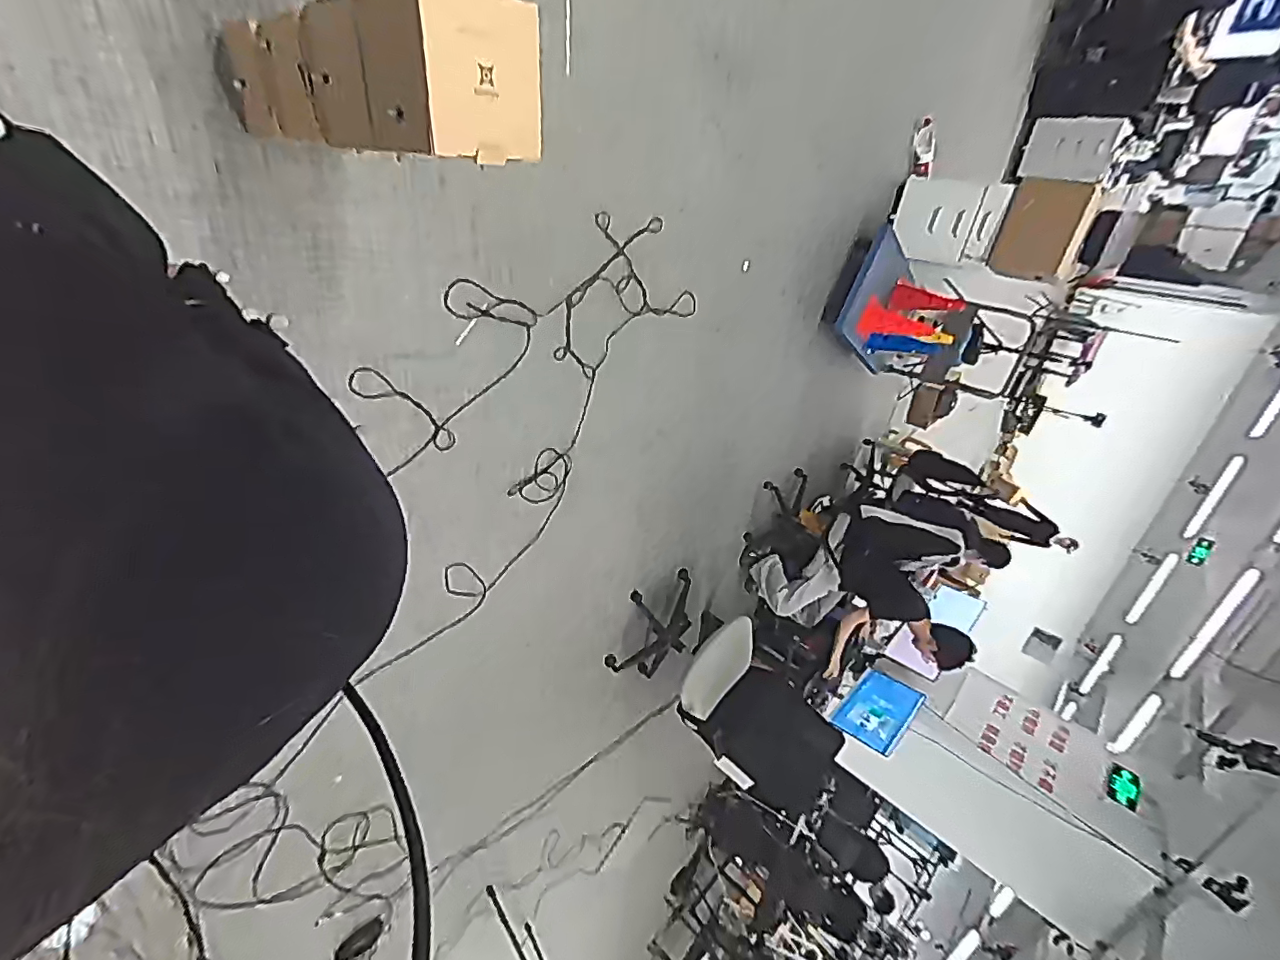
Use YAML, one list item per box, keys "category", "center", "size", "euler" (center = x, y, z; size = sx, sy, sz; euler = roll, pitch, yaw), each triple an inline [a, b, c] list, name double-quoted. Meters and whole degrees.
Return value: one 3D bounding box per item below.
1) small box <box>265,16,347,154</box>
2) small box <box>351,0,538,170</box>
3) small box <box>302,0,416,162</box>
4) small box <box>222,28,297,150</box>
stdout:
- category: "small box"
  center: [-0.494, -0.643, 0.904]
  size: [0.179, 0.176, 0.168]
  euler: [-27, 132, -40]
- category: "small box"
  center: [-0.254, -0.520, 0.719]
  size: [0.168, 0.176, 0.179]
  euler: [-26, 130, -41]
- category: "small box"
  center: [-0.374, -0.583, 0.811]
  size: [0.168, 0.176, 0.179]
  euler: [-26, 131, -40]
- category: "small box"
  center: [-0.620, -0.702, 0.991]
  size: [0.179, 0.176, 0.168]
  euler: [-26, 130, -39]
